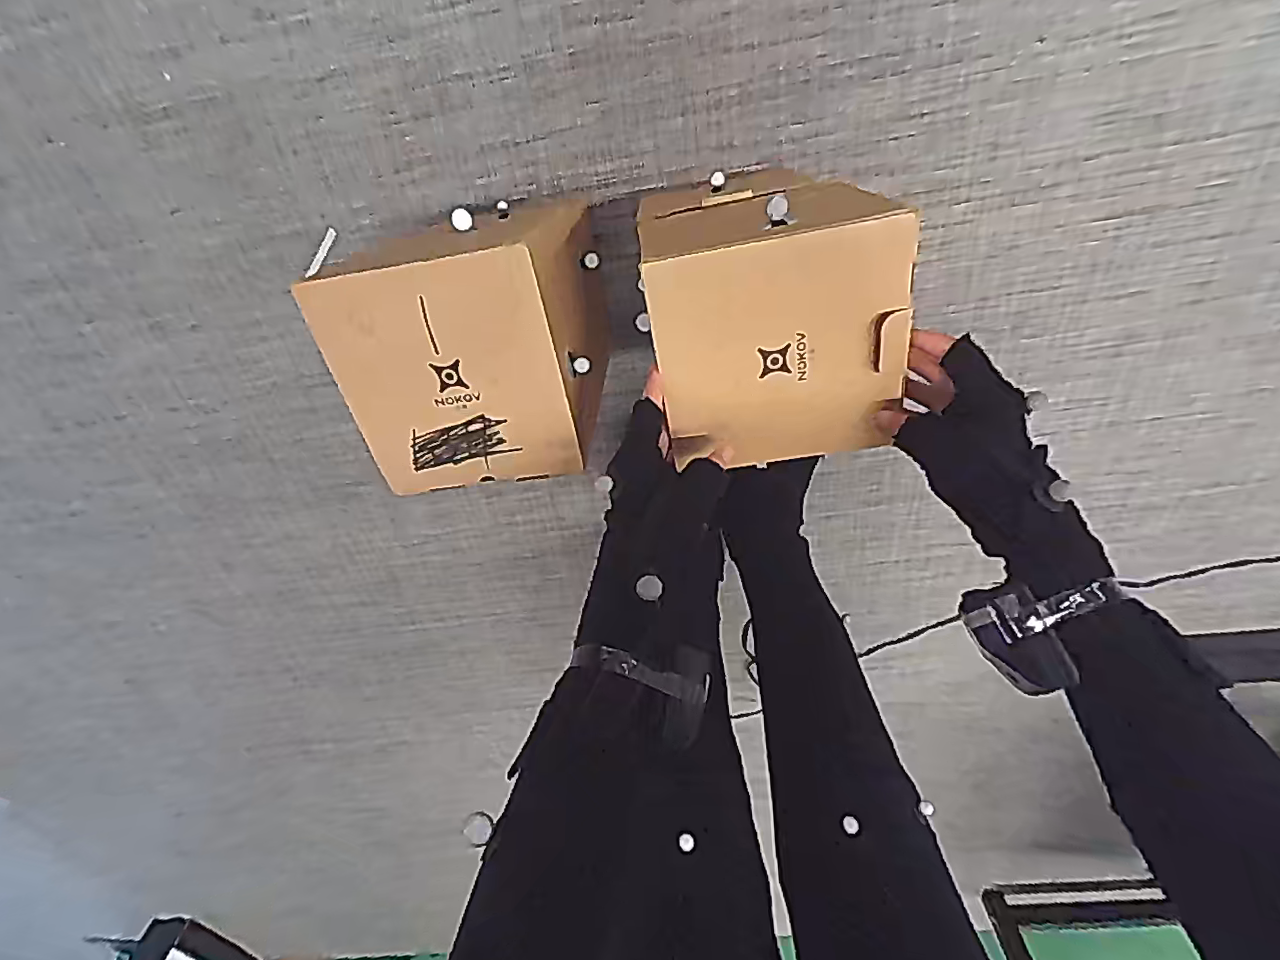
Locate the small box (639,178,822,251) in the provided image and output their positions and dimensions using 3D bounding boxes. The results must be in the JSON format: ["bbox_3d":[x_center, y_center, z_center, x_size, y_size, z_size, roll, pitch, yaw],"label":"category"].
[{"bbox_3d":[0.092,-0.213,0.581,0.168,0.176,0.179,-8,123,7],"label":"small box"}]

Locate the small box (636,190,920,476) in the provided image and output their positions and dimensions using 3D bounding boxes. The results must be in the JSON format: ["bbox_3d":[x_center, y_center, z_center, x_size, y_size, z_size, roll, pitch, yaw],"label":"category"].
[{"bbox_3d":[0.098,-0.125,0.441,0.179,0.176,0.168,-9,123,6],"label":"small box"}]
